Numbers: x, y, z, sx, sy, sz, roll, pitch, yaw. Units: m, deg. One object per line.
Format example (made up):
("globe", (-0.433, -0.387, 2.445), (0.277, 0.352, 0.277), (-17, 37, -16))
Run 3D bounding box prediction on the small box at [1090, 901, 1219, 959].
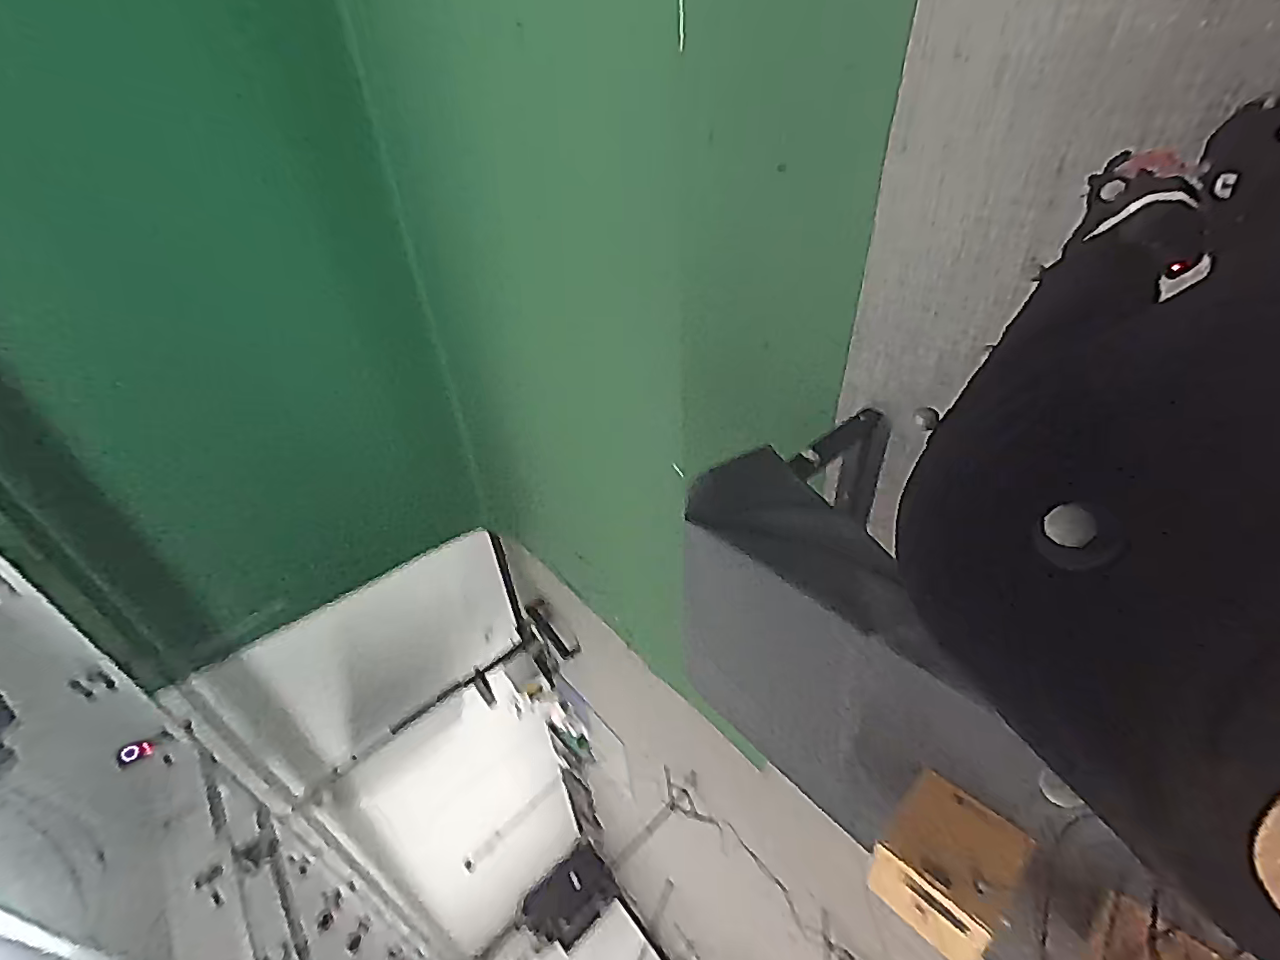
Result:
("small box", (0.673, 0.707, 0.692), (0.168, 0.176, 0.179), (21, 131, 47))
